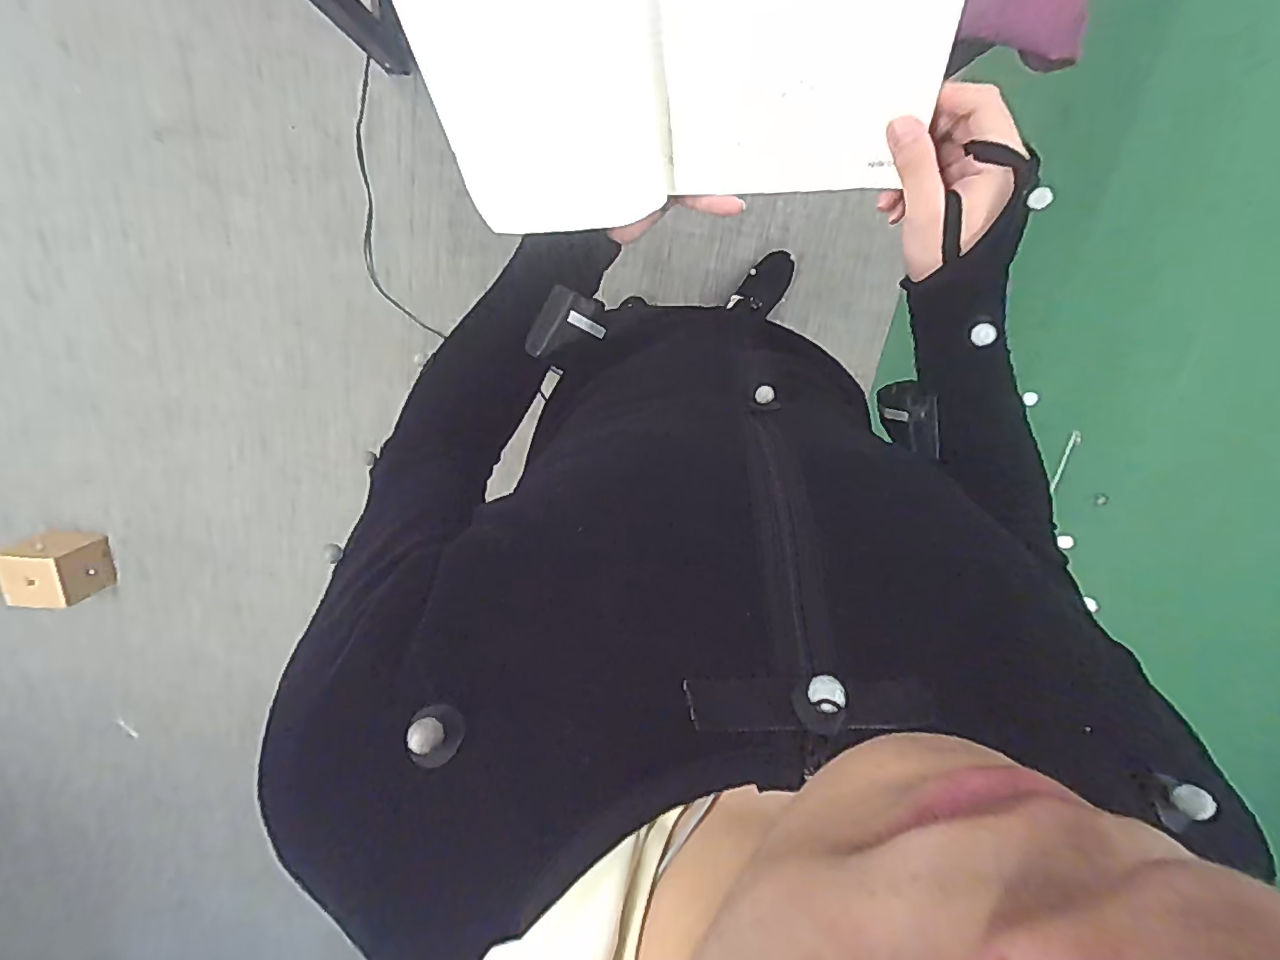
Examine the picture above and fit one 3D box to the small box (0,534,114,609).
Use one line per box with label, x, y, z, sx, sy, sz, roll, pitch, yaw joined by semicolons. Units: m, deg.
small box;-1.750;0.272;1.633;0.179;0.176;0.168;5;107;-2
